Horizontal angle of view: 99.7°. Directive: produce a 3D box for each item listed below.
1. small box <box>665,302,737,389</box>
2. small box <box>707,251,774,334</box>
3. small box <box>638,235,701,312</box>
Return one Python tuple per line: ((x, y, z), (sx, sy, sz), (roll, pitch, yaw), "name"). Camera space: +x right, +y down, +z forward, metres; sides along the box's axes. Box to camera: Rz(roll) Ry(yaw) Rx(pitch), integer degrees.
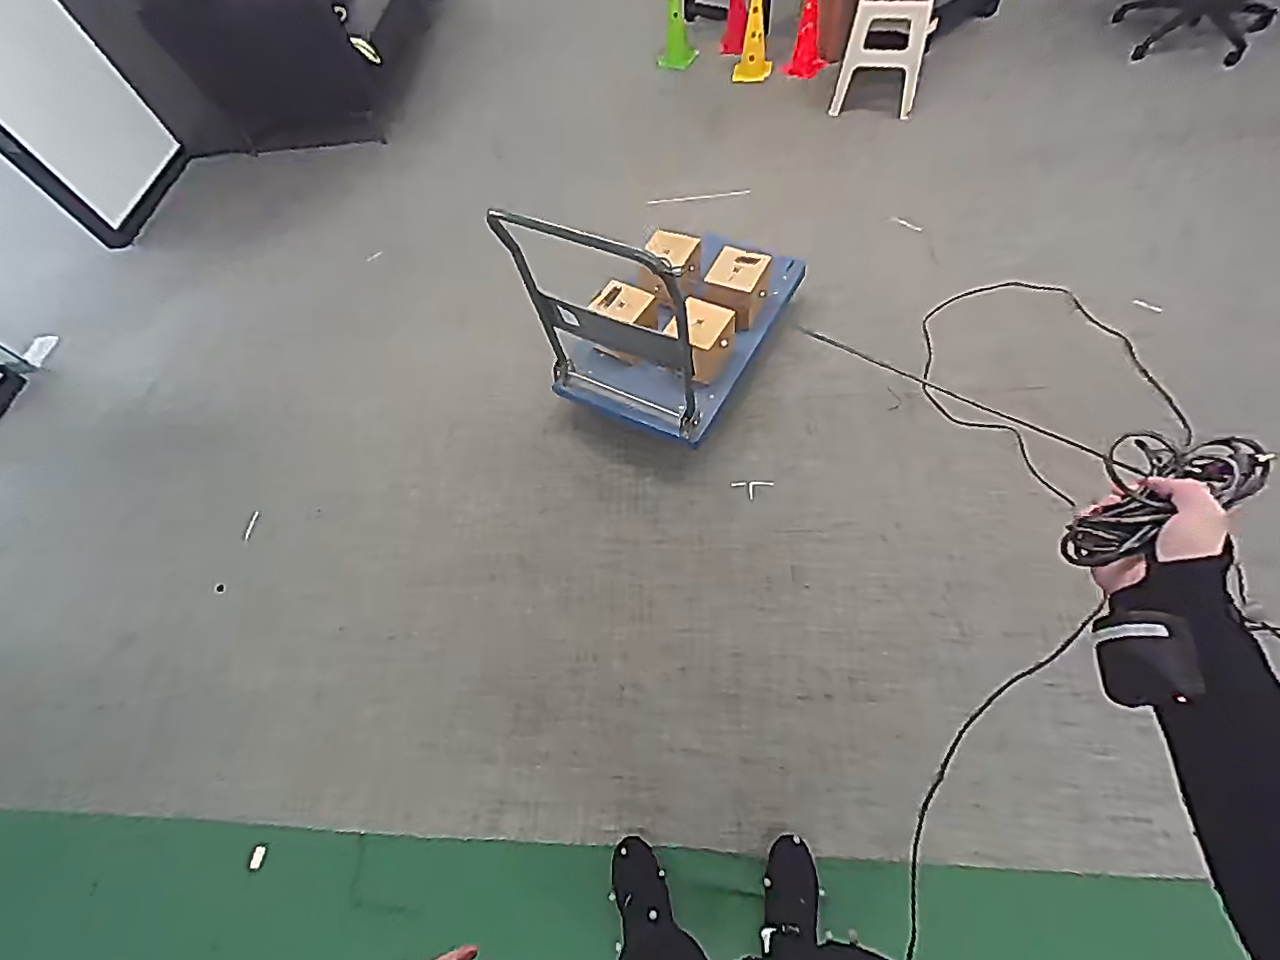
((0.196, -0.427, 1.725), (0.168, 0.176, 0.179), (26, 69, 21), "small box")
((0.334, -0.627, 1.814), (0.168, 0.176, 0.179), (23, 68, 20), "small box")
((0.112, -0.723, 1.900), (0.168, 0.176, 0.179), (22, 66, 18), "small box")
